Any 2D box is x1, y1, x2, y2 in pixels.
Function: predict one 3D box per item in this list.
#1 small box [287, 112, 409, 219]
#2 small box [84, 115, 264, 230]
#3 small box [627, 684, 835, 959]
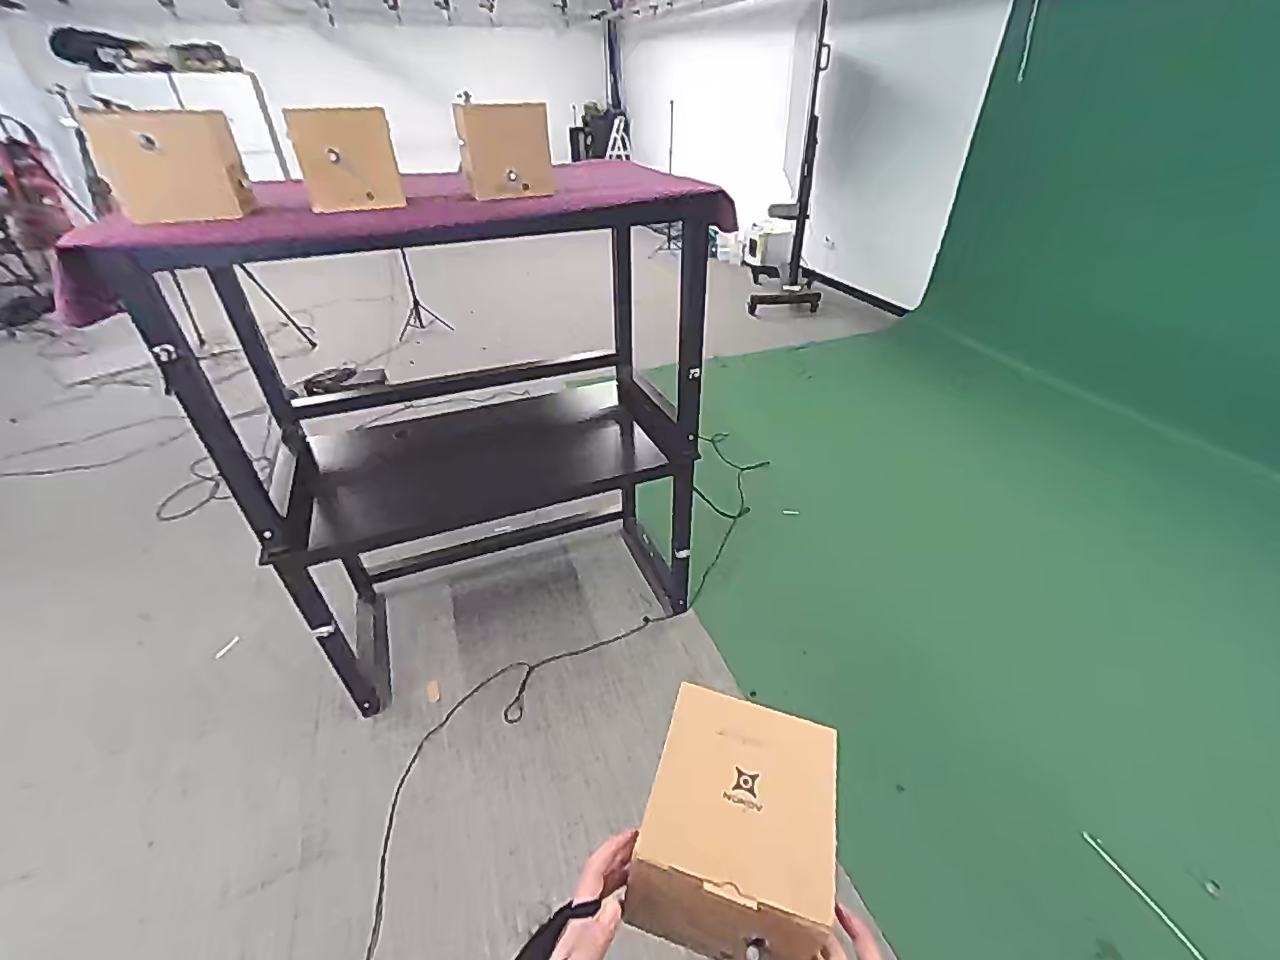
[{"bbox_3d":[-0.561,-0.617,1.064,0.168,0.176,0.179,-13,35,-16],"label":"small box"},{"bbox_3d":[-0.827,-0.560,0.984,0.179,0.176,0.168,-12,36,-17],"label":"small box"},{"bbox_3d":[0.089,0.349,0.546,0.168,0.176,0.179,14,36,11],"label":"small box"}]
